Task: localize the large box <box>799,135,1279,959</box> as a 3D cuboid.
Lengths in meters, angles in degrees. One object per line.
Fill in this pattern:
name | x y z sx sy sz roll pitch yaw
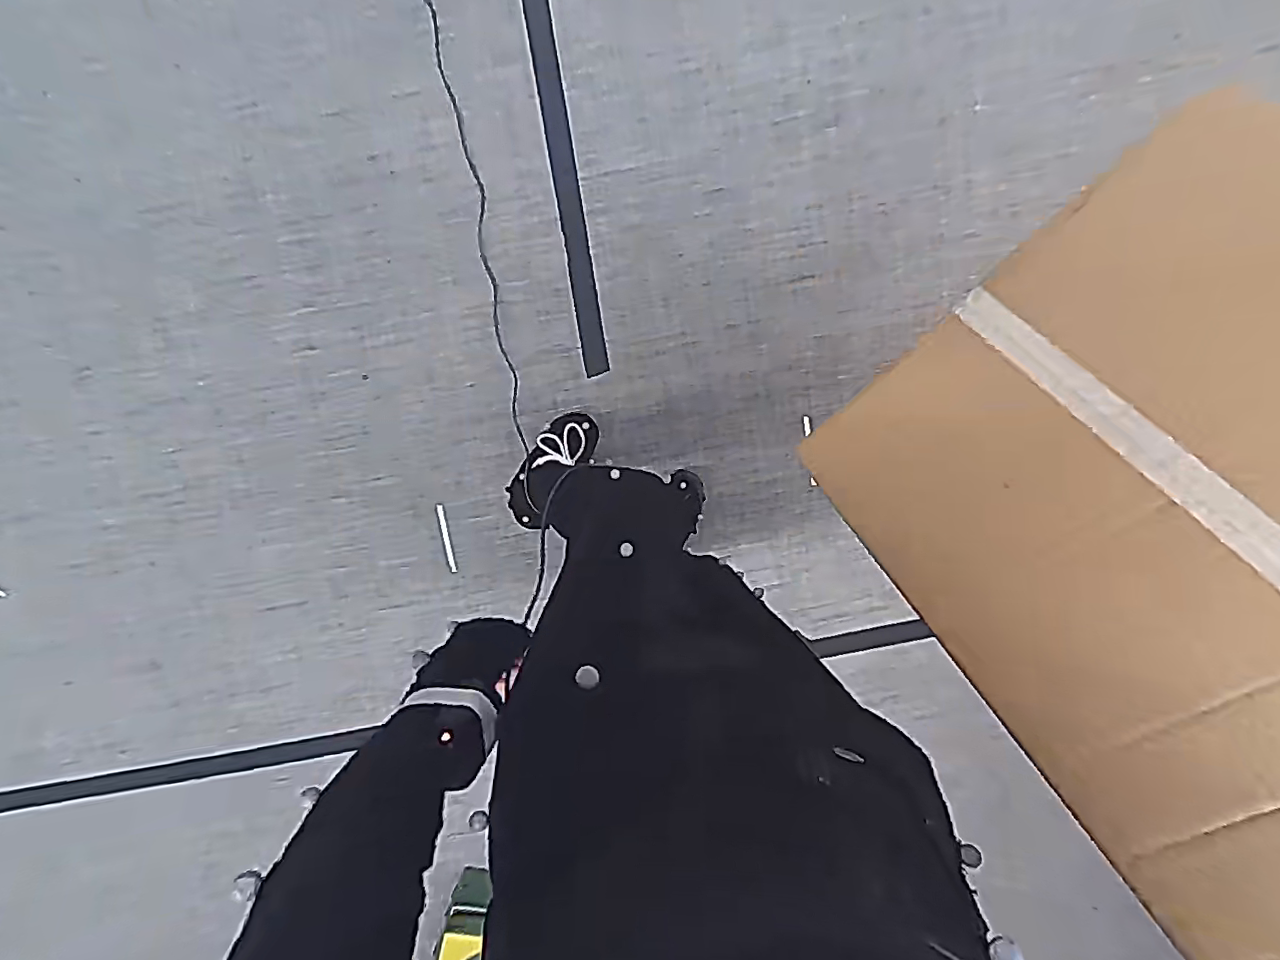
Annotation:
large box | 0.406 0.055 0.402 0.320 0.320 0.408 -46 58 26
